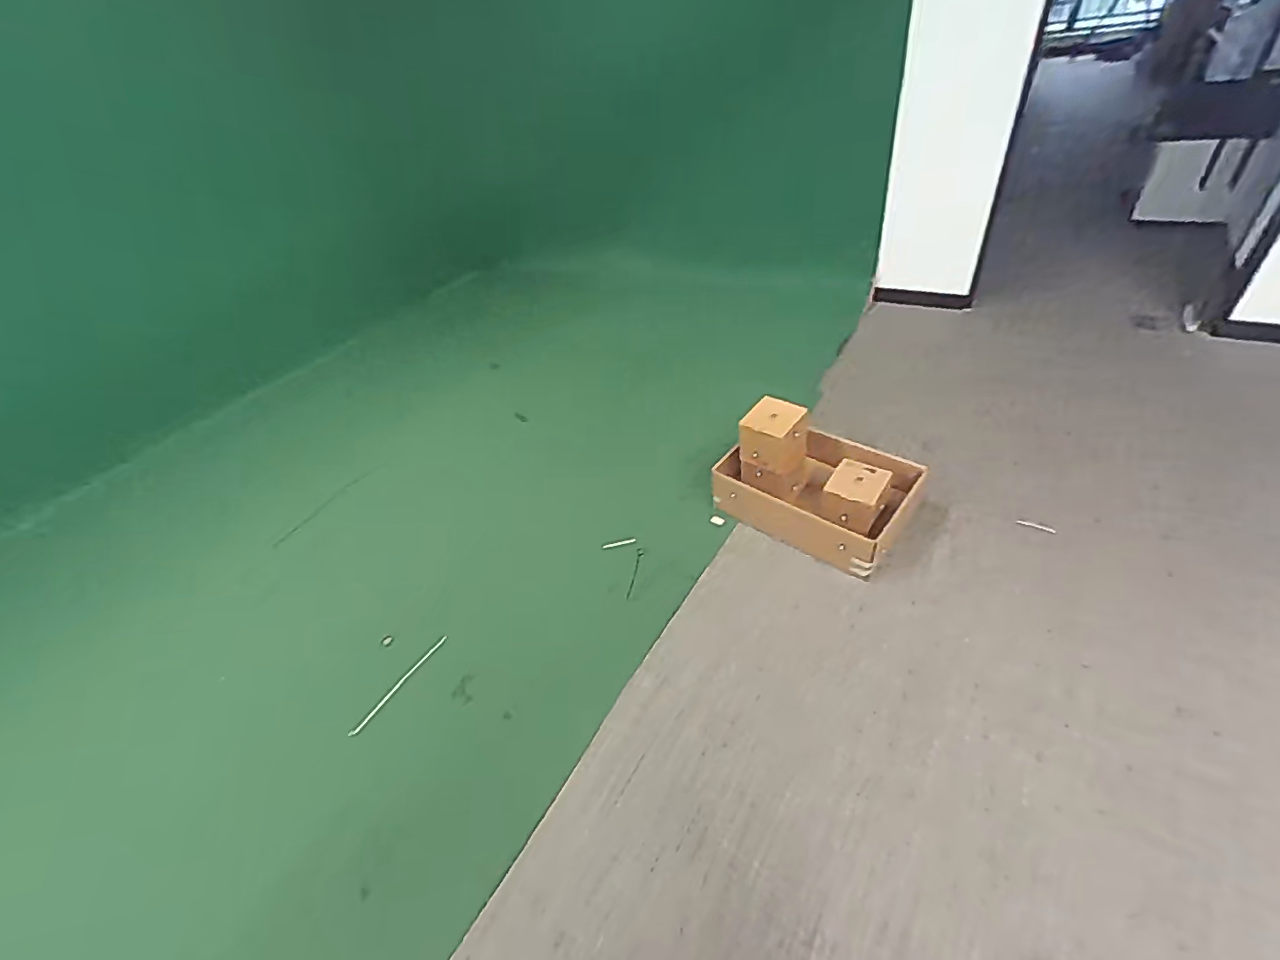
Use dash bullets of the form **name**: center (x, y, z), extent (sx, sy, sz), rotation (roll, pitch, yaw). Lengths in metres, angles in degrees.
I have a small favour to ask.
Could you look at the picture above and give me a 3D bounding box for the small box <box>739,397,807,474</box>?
- **small box**: center (0.456, -0.153, 1.874), extent (0.168, 0.176, 0.179), rotation (26, 56, 33)
